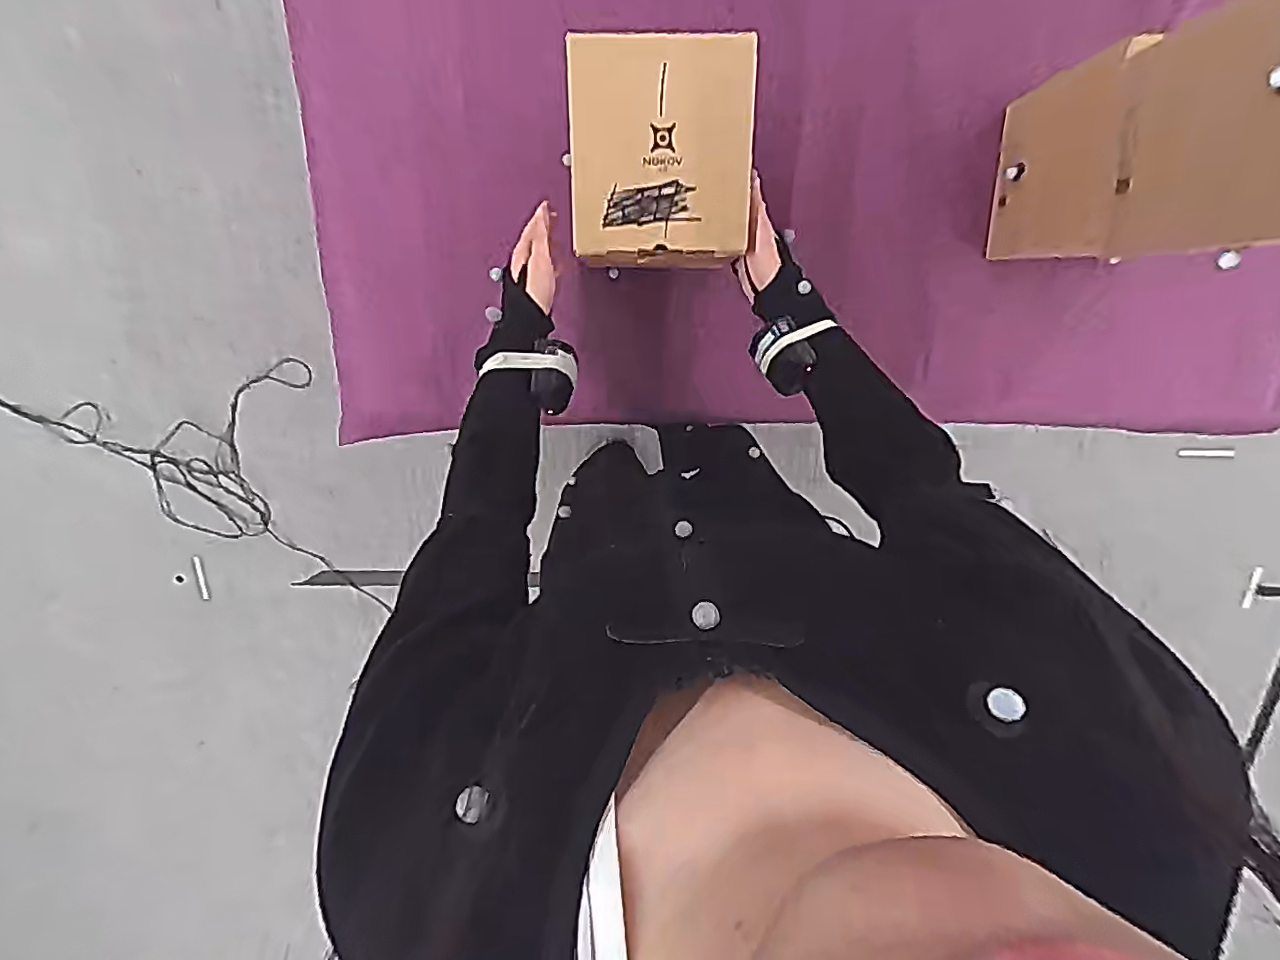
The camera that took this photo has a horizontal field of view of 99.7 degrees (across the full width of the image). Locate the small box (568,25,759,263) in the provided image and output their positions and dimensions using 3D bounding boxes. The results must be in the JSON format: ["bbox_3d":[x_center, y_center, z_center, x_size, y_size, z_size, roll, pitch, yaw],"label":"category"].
[{"bbox_3d":[0.019,-0.324,0.558,0.168,0.176,0.179,0,106,-1],"label":"small box"}]

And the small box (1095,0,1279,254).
[{"bbox_3d":[0.507,-0.272,0.407,0.179,0.176,0.168,-5,106,1],"label":"small box"}]
